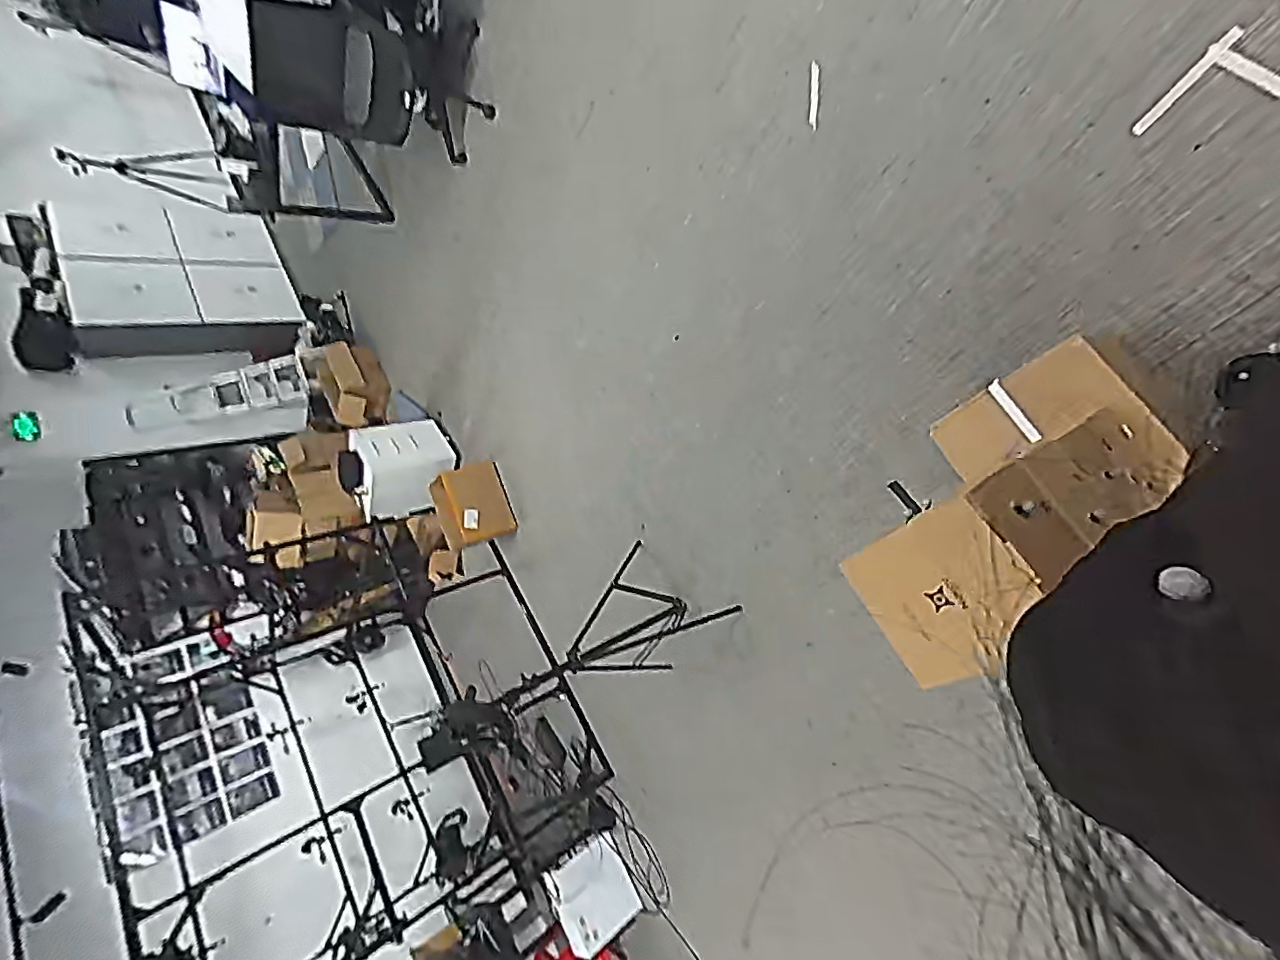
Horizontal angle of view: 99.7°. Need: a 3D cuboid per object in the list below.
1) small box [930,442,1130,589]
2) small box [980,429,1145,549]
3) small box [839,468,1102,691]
[{"bbox_3d":[0.496,0.069,0.714,0.168,0.176,0.179,59,138,17],"label":"small box"},{"bbox_3d":[0.616,0.039,0.820,0.179,0.176,0.168,-45,67,45],"label":"small box"},{"bbox_3d":[0.374,0.107,0.613,0.168,0.176,0.179,60,139,18],"label":"small box"}]
